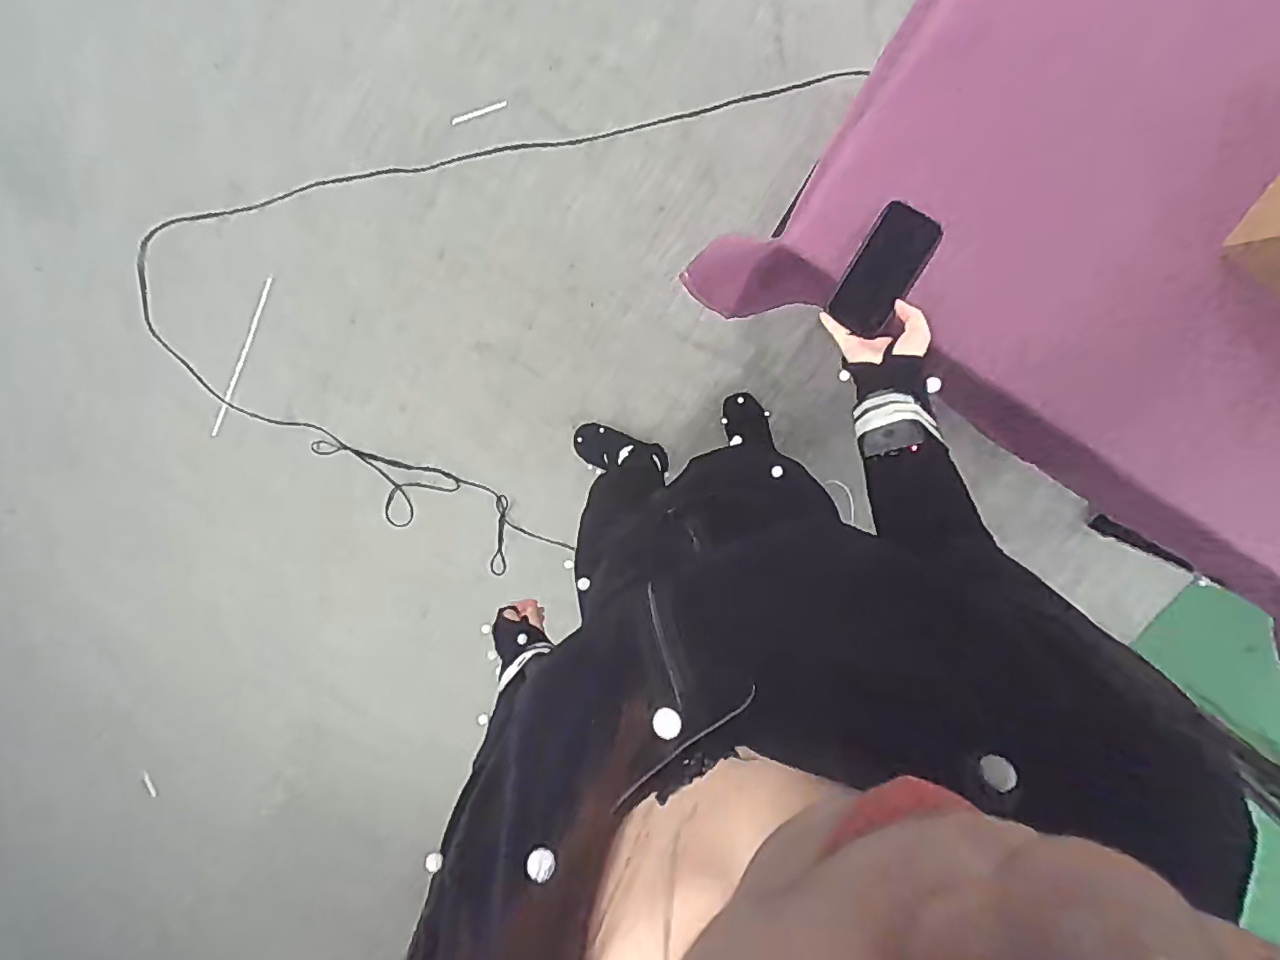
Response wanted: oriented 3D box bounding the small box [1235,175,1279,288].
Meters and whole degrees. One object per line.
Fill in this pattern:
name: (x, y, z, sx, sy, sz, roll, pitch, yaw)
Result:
small box: (0.774, -0.275, 0.535, 0.168, 0.176, 0.179, 31, 103, -4)
